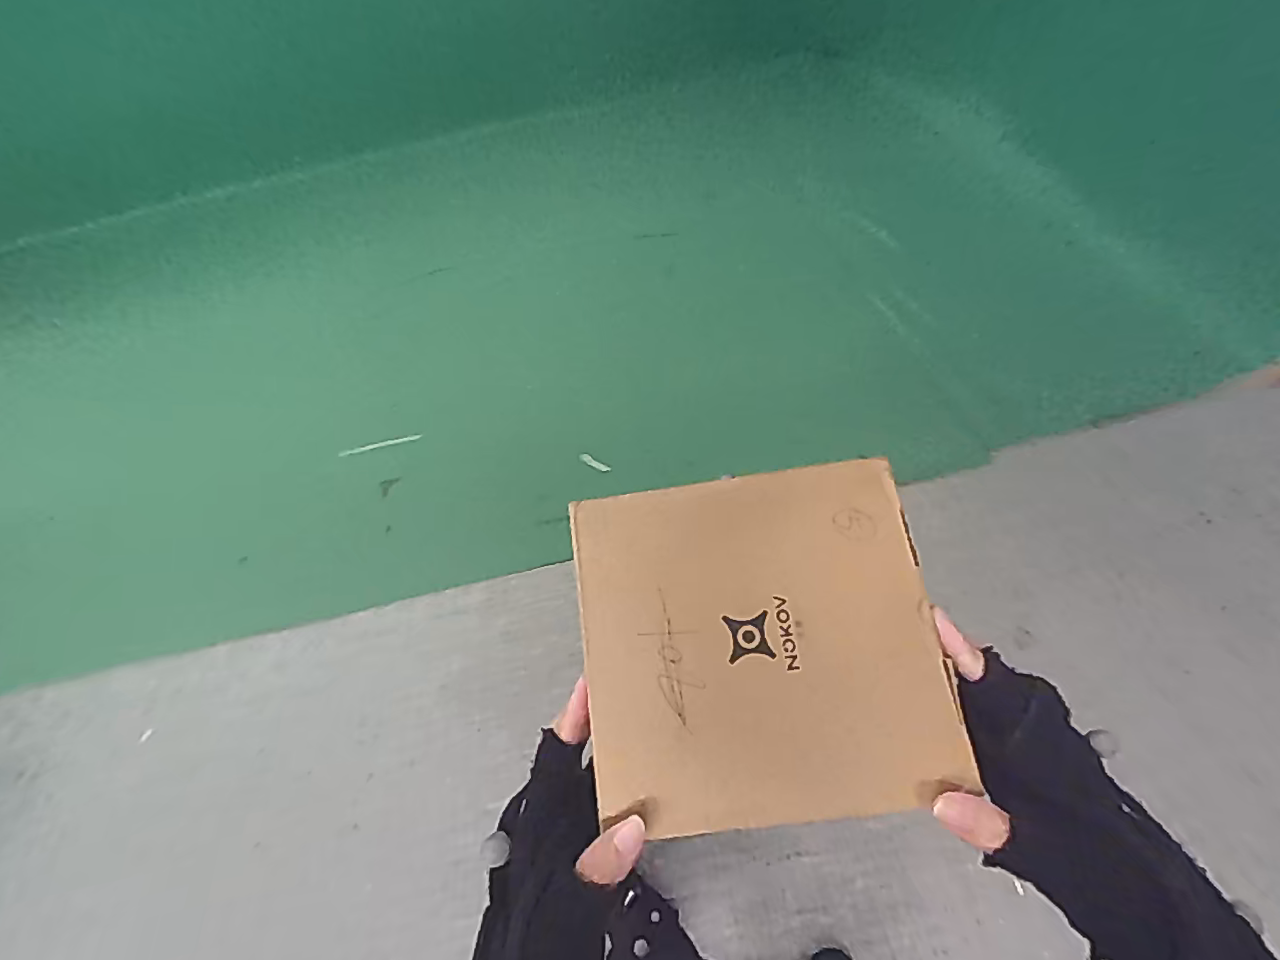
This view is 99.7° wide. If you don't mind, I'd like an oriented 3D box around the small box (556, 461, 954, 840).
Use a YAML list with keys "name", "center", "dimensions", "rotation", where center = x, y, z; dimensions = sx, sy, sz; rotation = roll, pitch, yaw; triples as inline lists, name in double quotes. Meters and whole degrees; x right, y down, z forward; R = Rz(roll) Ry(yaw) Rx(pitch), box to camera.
- name: "small box"
  center: [0.057, 0.103, 0.353]
  dimensions: [0.179, 0.176, 0.168]
  rotation: [-12, 71, 3]
